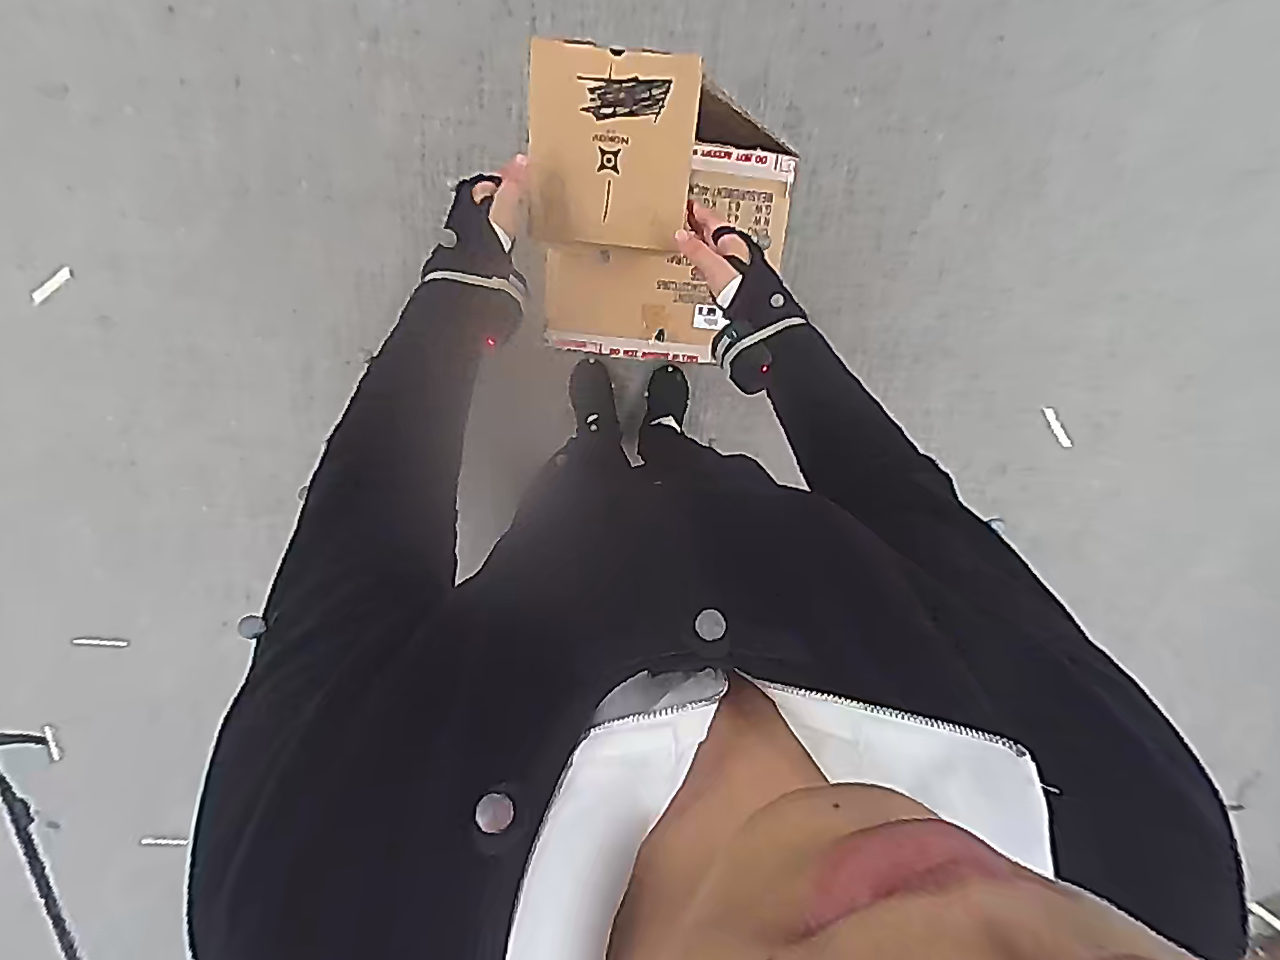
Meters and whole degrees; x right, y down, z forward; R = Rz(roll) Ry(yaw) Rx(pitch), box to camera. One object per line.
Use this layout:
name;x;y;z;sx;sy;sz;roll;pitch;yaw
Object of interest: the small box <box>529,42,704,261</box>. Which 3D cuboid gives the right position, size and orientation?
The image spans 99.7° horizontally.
small box;-0.028;-0.352;0.616;0.168;0.176;0.179;5;111;-2
